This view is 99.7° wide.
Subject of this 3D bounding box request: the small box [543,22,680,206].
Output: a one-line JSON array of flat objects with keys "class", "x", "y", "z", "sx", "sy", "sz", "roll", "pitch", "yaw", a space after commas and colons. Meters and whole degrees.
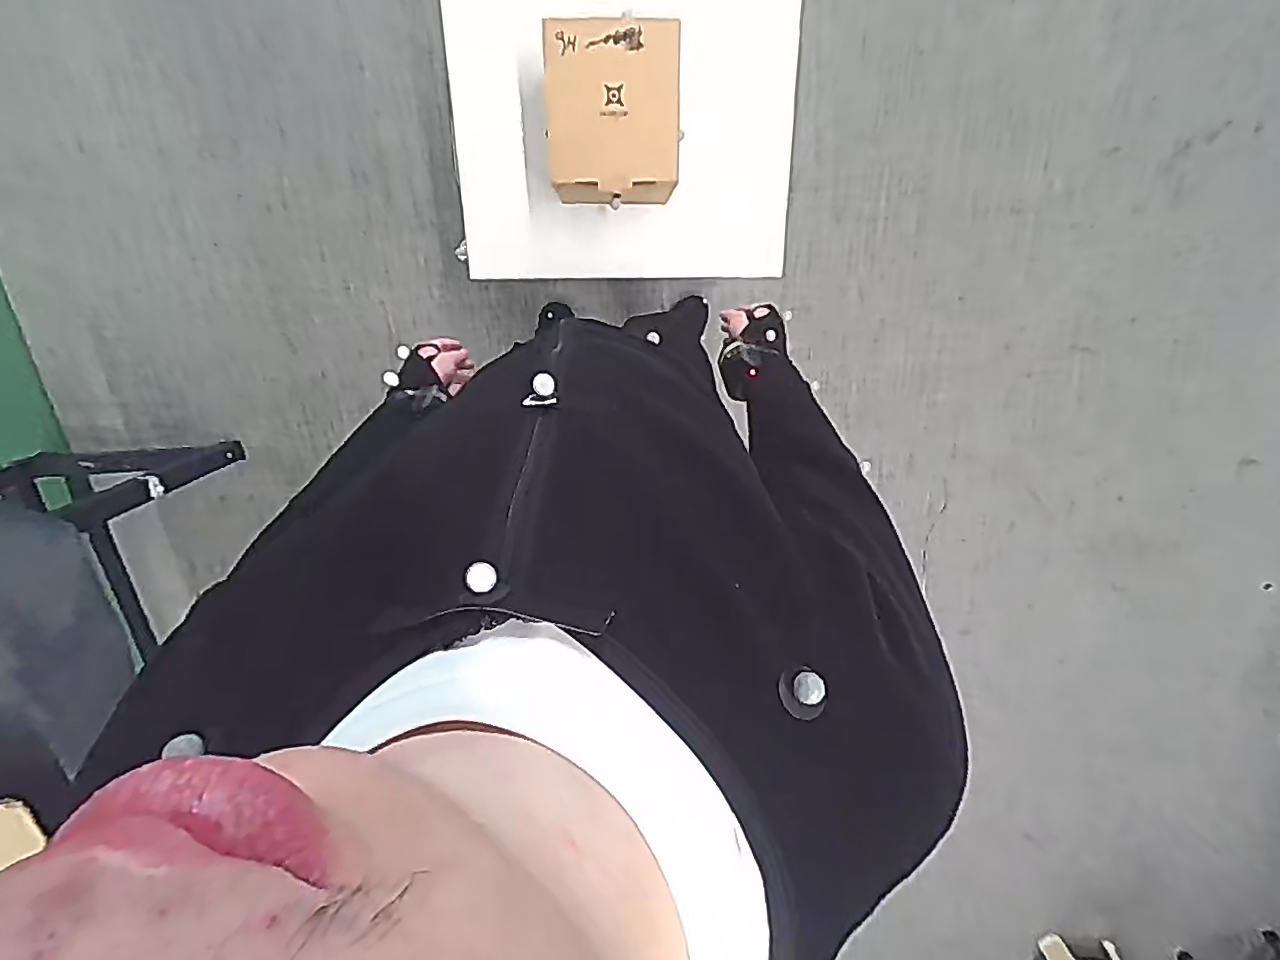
[{"class": "small box", "x": -0.032, "y": -0.482, "z": 0.742, "sx": 0.168, "sy": 0.176, "sz": 0.179, "roll": -3, "pitch": 108, "yaw": 0}]
